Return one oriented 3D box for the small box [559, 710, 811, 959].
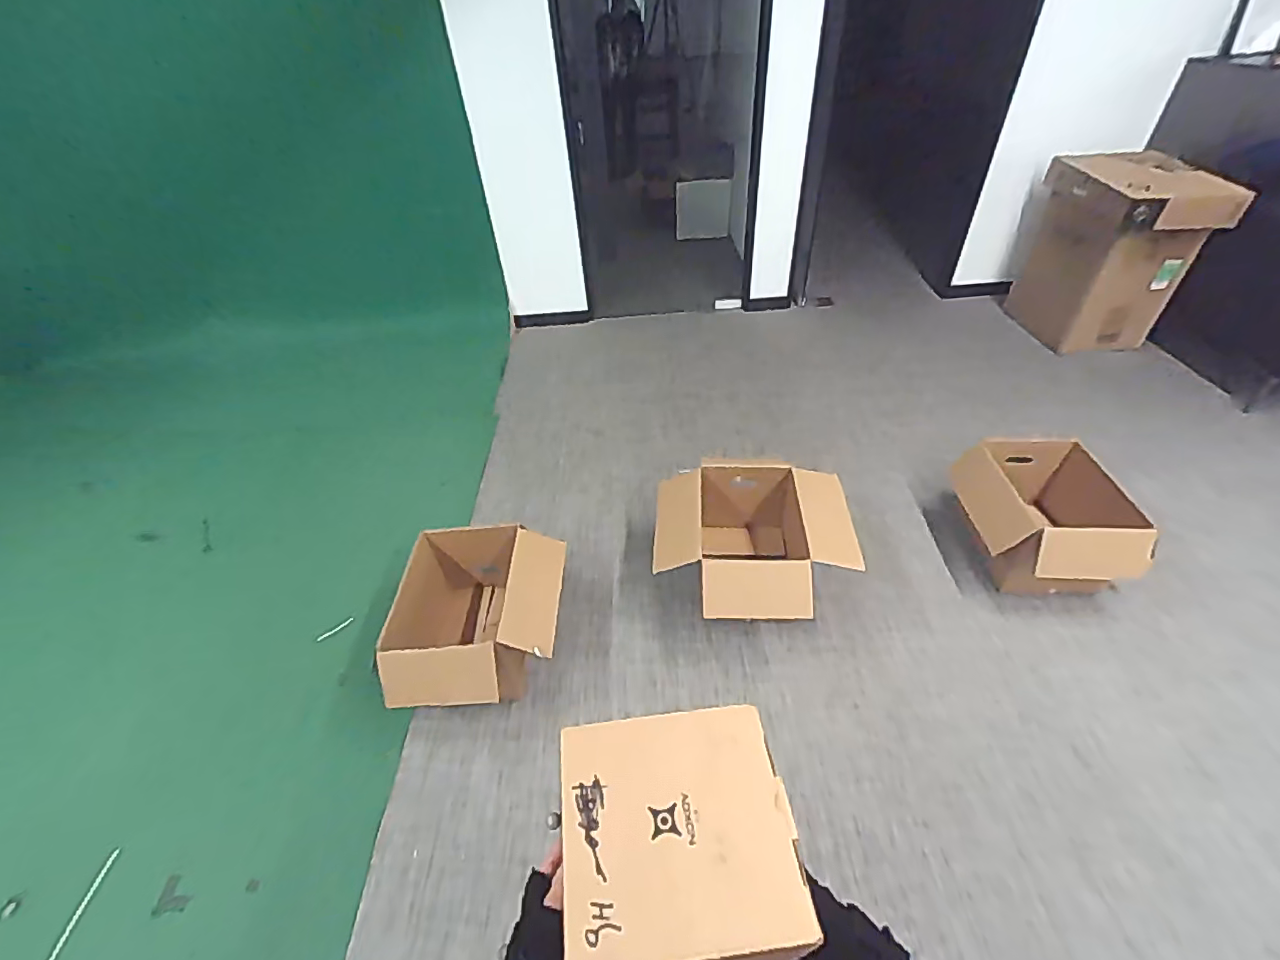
[{"bbox_3d":[0.022,0.323,0.473,0.179,0.176,0.168,-3,42,-5],"label":"small box"}]
